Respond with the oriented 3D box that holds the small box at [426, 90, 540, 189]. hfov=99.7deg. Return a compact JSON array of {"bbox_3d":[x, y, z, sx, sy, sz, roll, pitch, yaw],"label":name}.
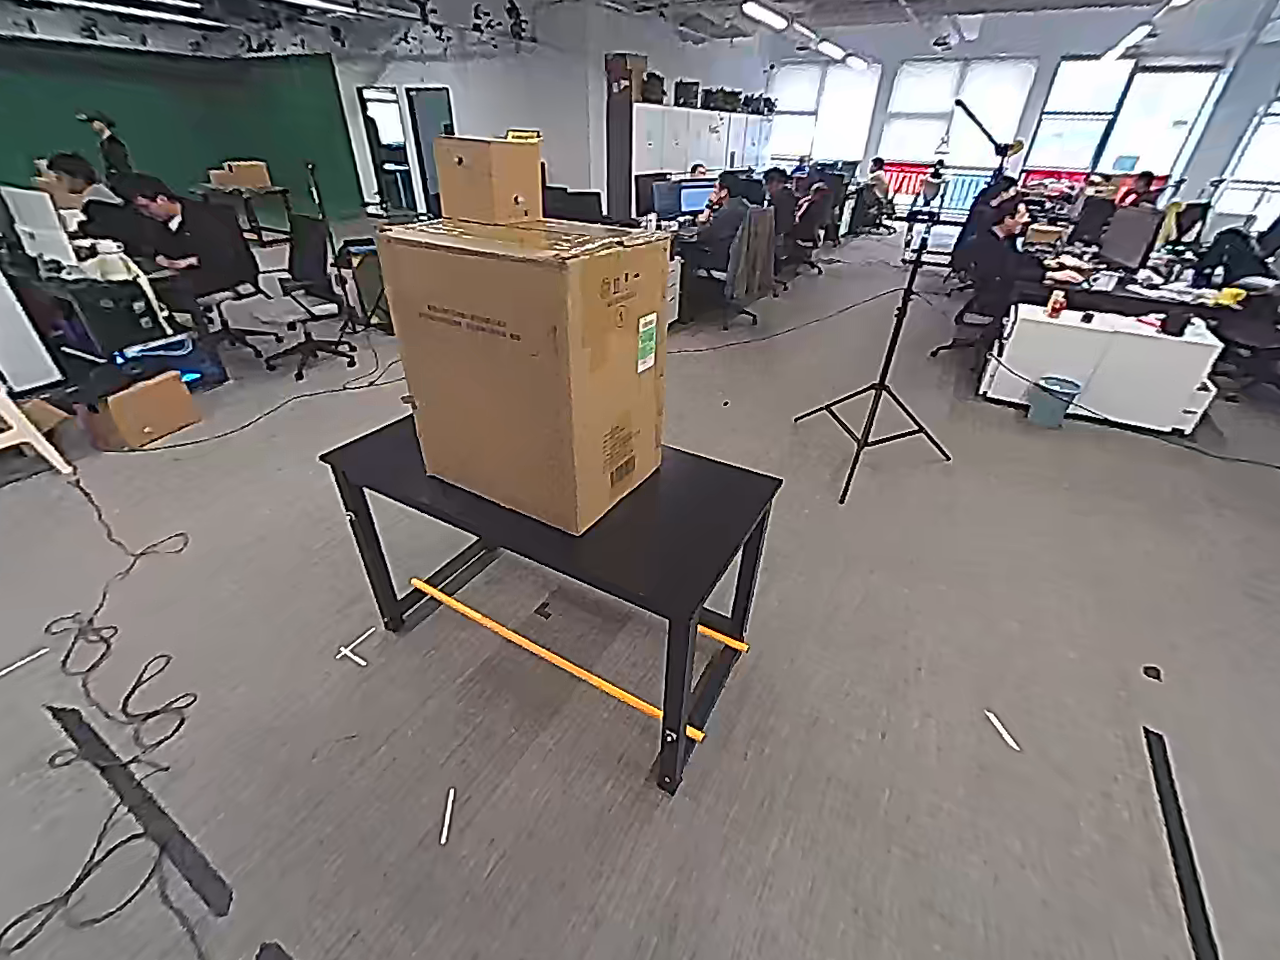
[{"bbox_3d":[-0.339,-0.746,1.193,0.179,0.176,0.168,20,36,24],"label":"small box"}]
